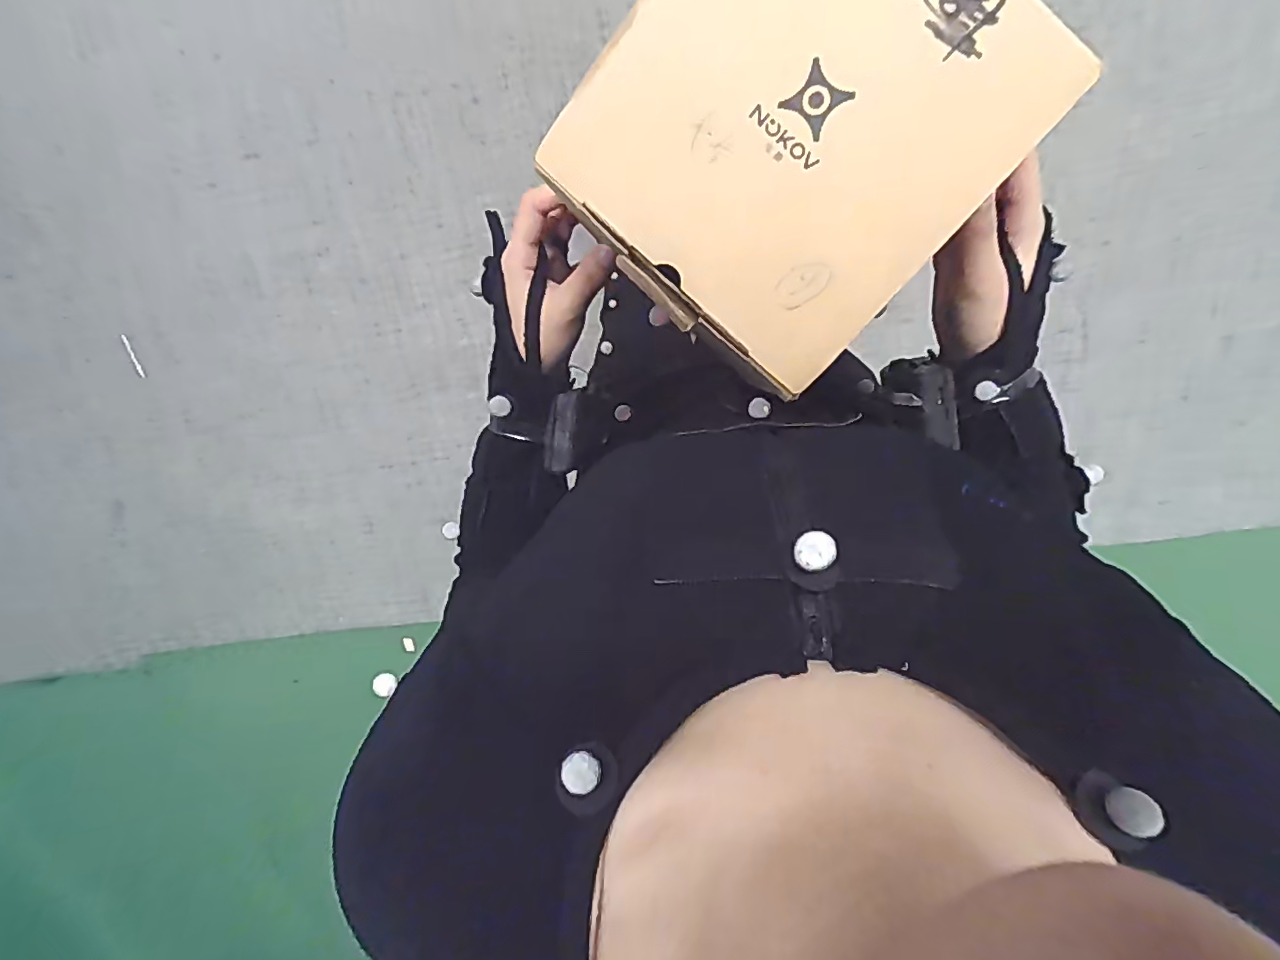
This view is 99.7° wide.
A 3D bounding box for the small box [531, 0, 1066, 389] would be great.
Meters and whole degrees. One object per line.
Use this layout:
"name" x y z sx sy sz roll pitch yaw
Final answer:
"small box" 0.073 -0.174 0.317 0.168 0.176 0.179 42 104 -3
